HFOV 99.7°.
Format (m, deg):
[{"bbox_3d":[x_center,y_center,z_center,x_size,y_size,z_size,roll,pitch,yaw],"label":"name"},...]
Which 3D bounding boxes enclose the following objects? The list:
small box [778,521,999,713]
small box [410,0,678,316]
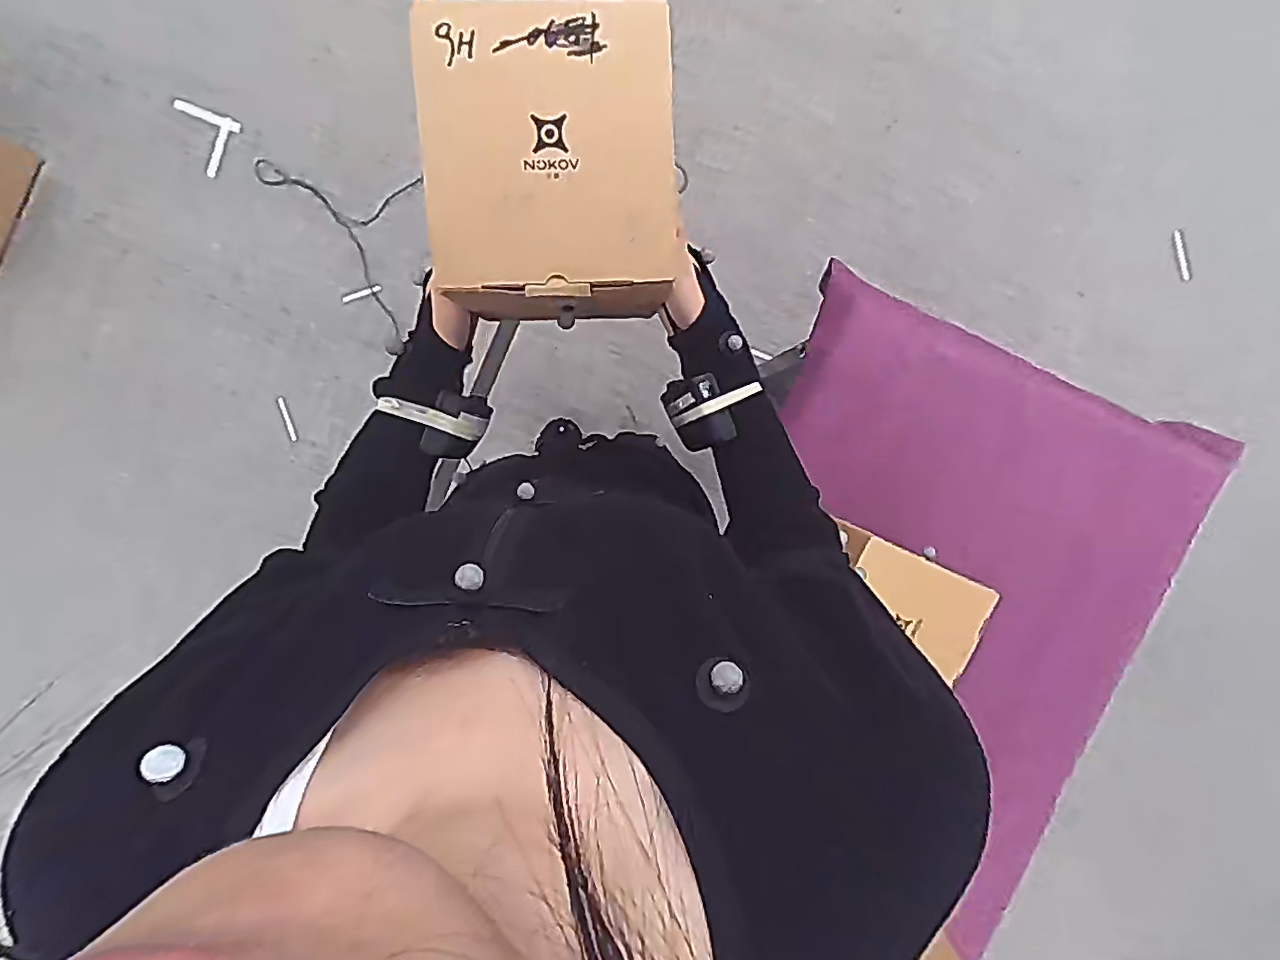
[{"bbox_3d":[0.307,0.164,0.711,0.179,0.176,0.168,25,94,-5],"label":"small box"},{"bbox_3d":[-0.062,-0.227,0.428,0.168,0.176,0.179,-4,100,-5],"label":"small box"}]
